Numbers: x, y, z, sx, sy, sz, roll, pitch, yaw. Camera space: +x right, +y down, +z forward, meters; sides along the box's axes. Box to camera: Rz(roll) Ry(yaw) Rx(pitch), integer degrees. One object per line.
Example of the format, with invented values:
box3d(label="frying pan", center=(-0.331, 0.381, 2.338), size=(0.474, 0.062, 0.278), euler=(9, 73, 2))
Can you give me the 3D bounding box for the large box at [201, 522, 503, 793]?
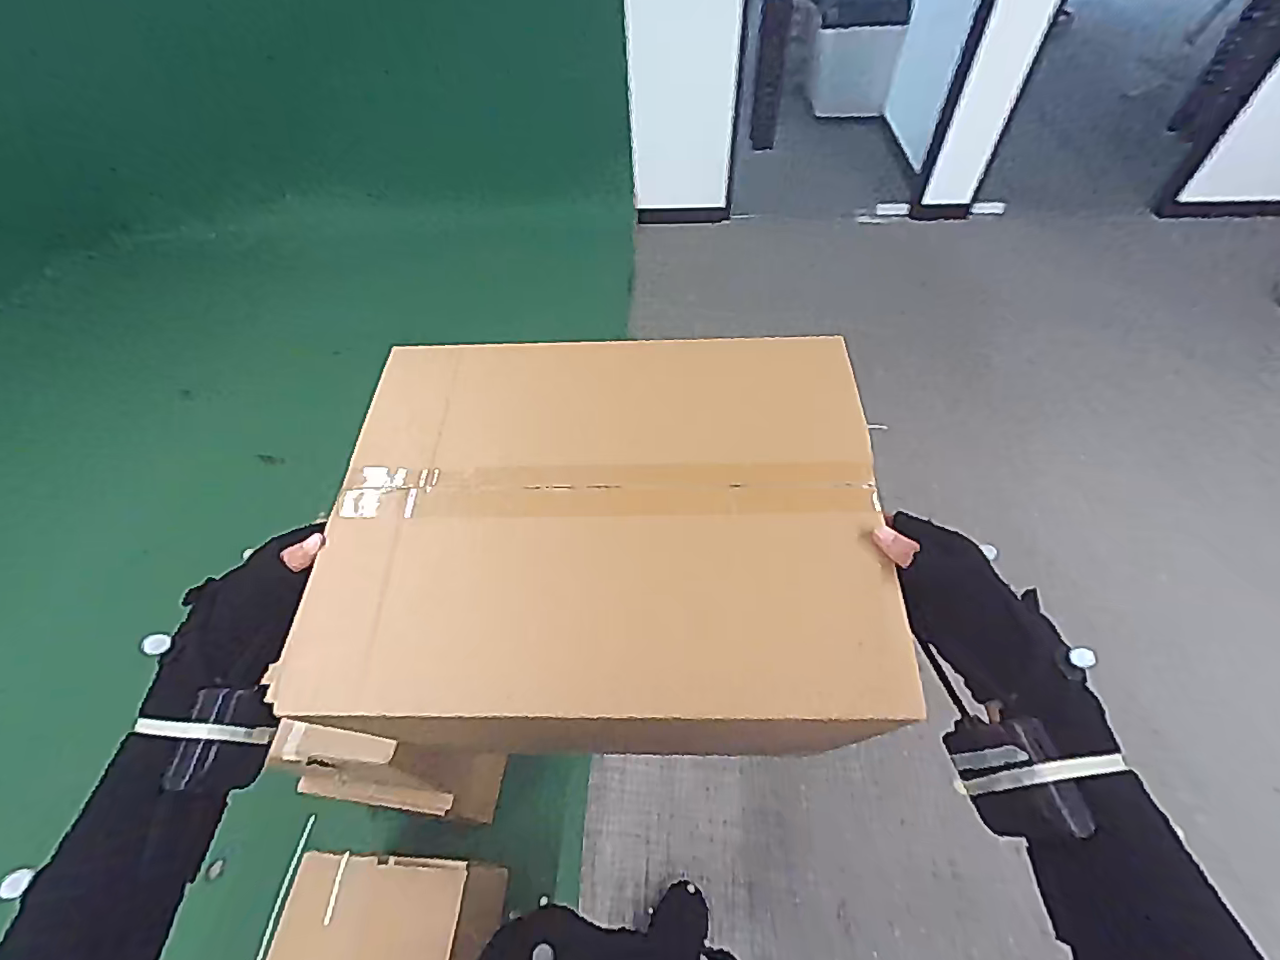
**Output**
box3d(label="large box", center=(-0.487, 0.337, 1.030), size=(0.320, 0.320, 0.408), euler=(4, 52, 4))
